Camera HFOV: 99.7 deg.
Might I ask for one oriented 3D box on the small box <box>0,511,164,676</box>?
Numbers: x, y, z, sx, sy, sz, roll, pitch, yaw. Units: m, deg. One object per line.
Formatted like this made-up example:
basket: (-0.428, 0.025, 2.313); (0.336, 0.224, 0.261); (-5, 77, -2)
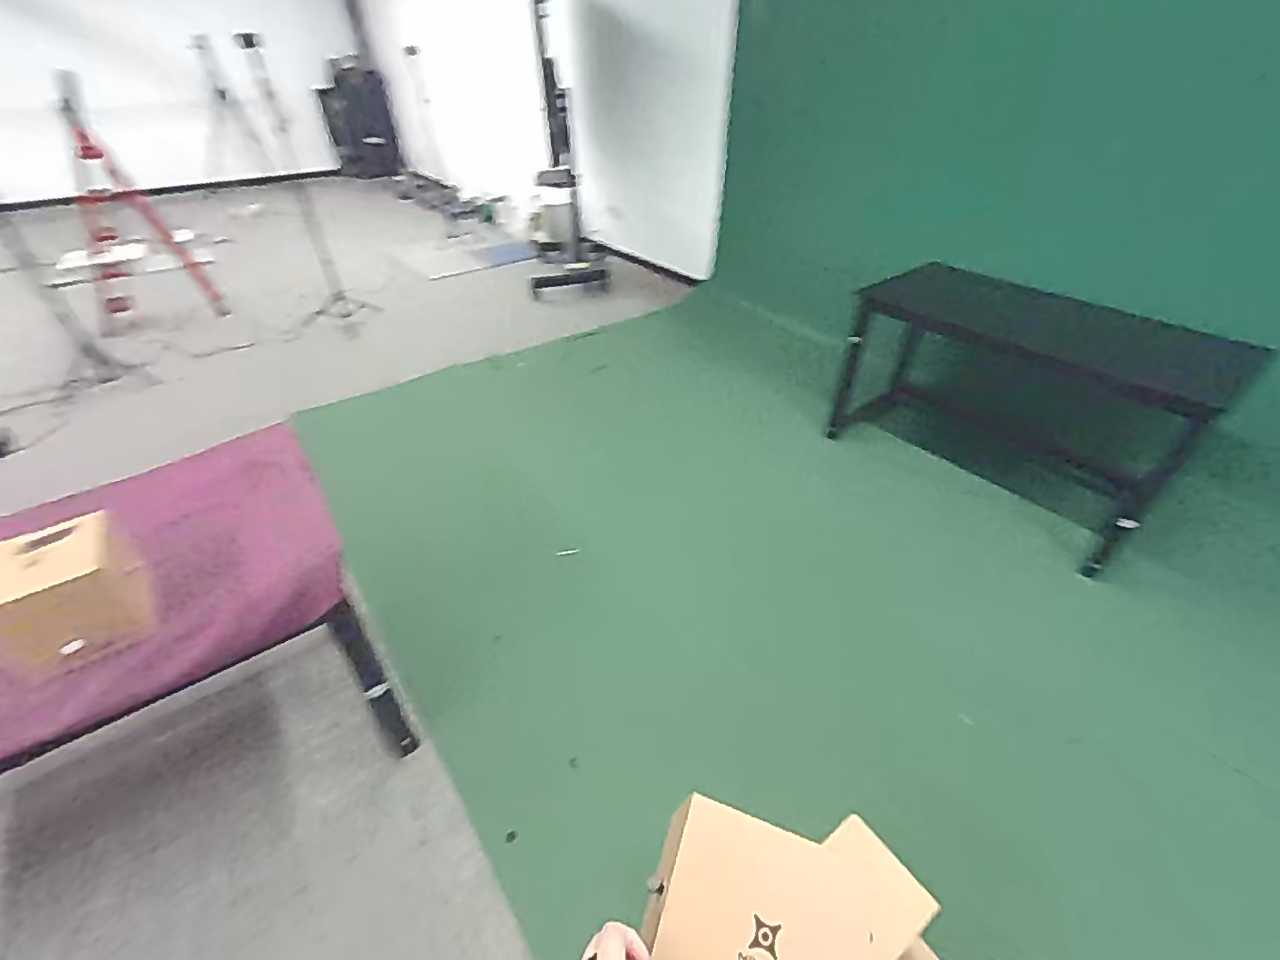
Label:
small box: (-0.942, 0.188, 0.907); (0.168, 0.176, 0.179); (-25, 45, -27)

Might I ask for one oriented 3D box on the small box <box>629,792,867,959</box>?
small box: (0.084, 0.416, 0.483); (0.168, 0.176, 0.179); (17, 52, 10)

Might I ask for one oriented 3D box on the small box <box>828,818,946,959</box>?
small box: (0.356, 0.714, 0.895); (0.179, 0.176, 0.168); (-23, 44, -27)
